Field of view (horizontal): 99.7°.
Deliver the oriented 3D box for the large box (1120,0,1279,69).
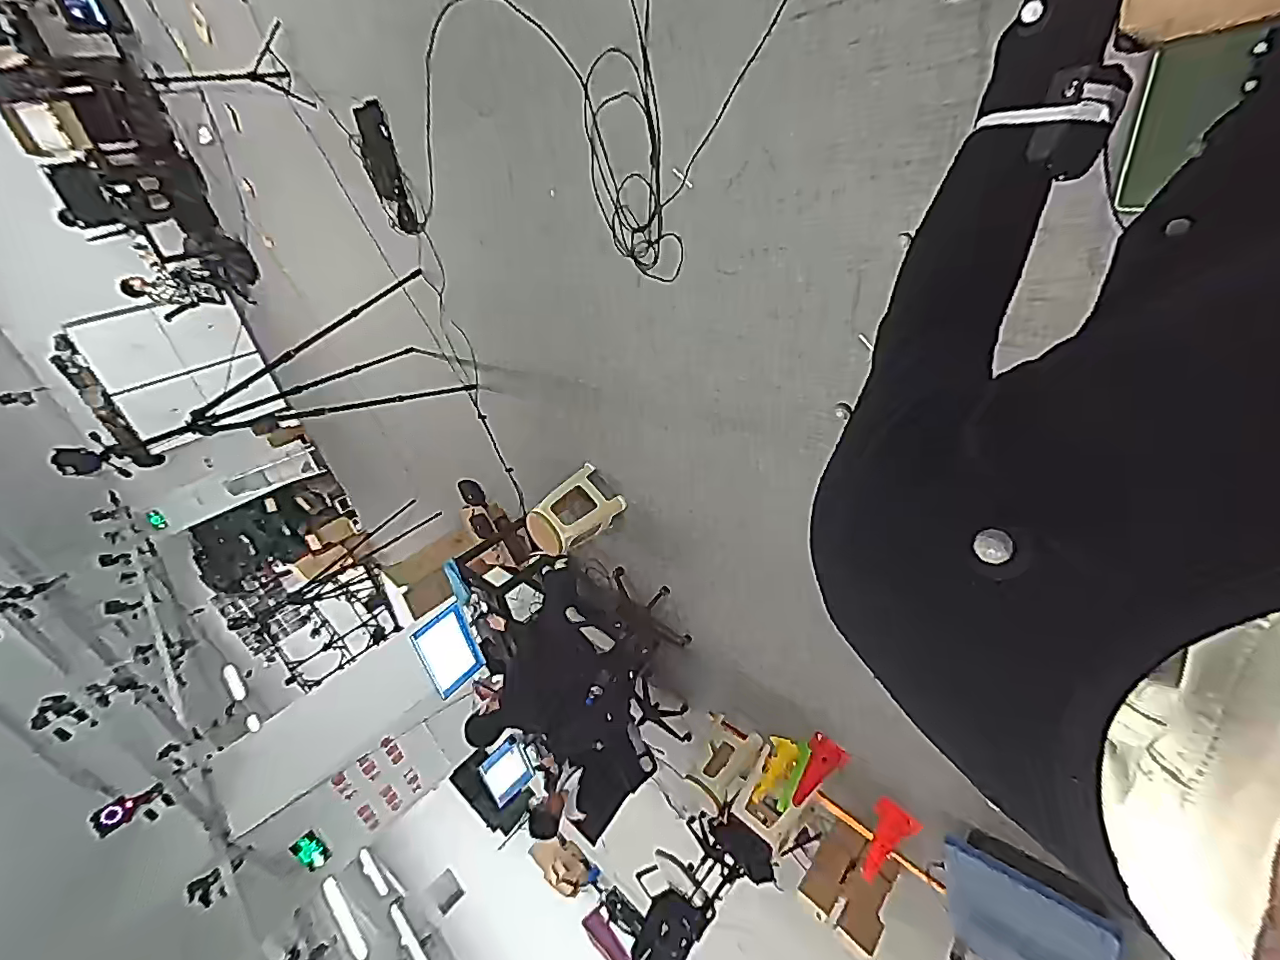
[{"bbox_3d":[0.567,-0.477,0.297,0.408,0.320,0.320,14,127,42],"label":"large box"}]
